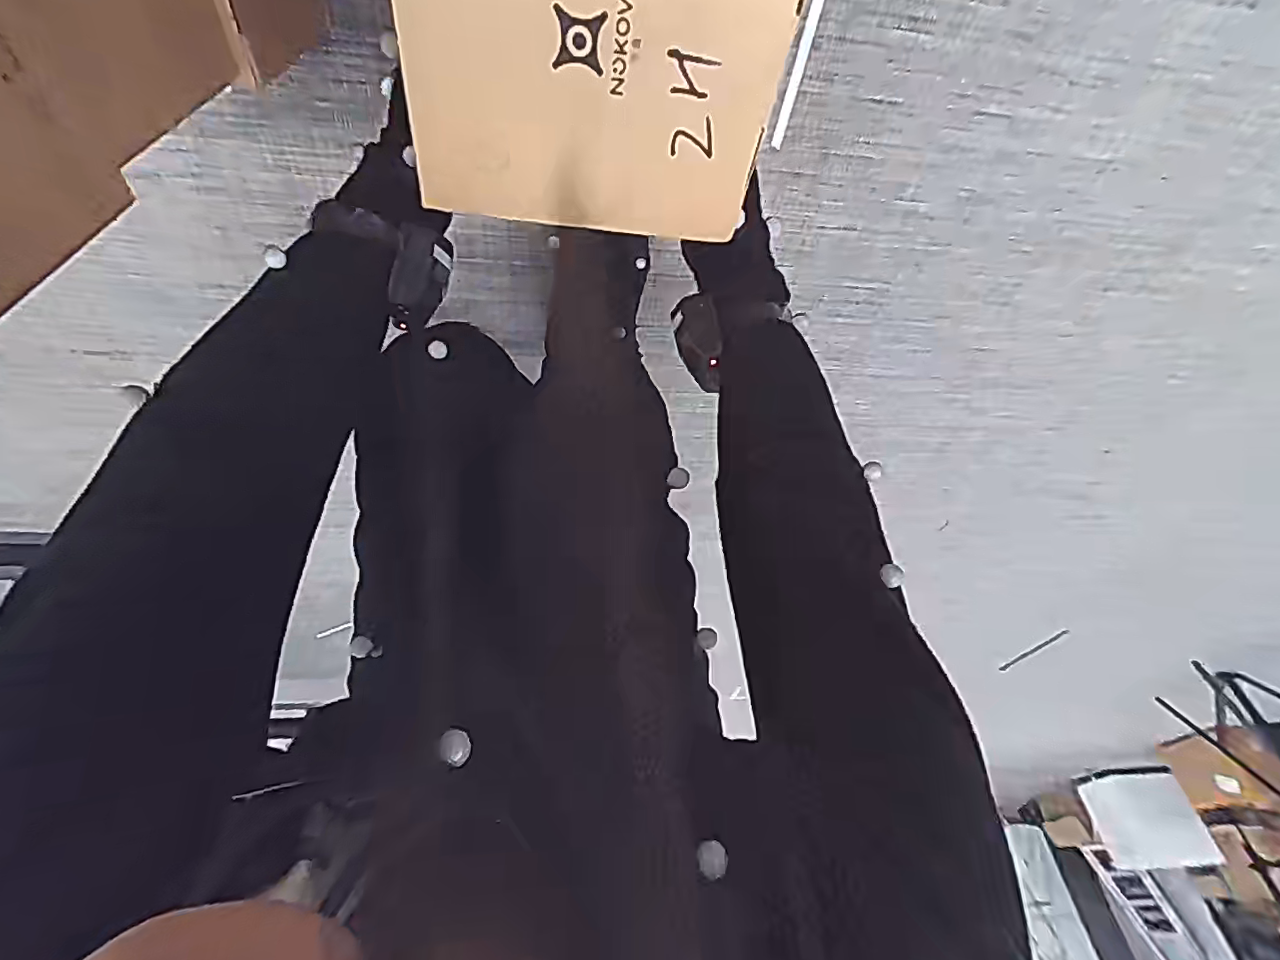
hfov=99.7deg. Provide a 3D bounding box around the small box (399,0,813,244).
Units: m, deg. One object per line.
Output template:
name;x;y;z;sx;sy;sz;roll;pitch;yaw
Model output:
small box;-0.021;-0.255;0.288;0.179;0.176;0.168;2;142;-10

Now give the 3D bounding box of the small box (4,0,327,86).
small box;-0.339;-0.388;0.349;0.179;0.176;0.168;1;142;-9
